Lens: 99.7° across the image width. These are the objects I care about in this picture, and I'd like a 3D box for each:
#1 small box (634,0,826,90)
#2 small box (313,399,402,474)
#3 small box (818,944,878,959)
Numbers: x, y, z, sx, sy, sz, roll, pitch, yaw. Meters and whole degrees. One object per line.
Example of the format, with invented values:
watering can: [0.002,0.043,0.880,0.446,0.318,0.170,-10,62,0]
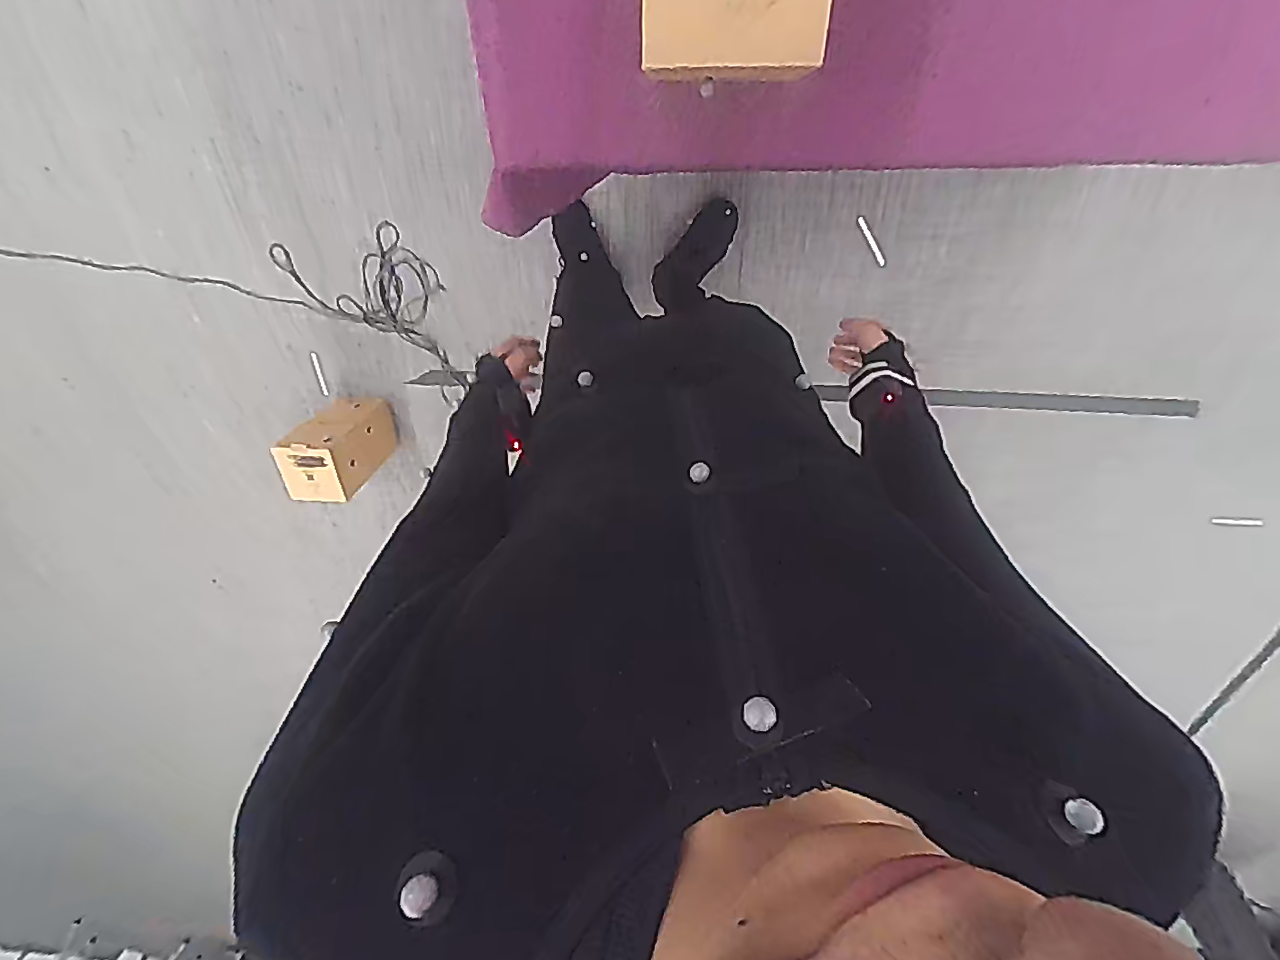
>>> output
small box: [0.083,-0.482,0.509,0.168,0.176,0.179,3,123,4]
small box: [-0.876,-0.139,1.698,0.168,0.176,0.179,2,123,5]
small box: [0.722,1.724,1.852,0.179,0.176,0.168,3,124,3]
